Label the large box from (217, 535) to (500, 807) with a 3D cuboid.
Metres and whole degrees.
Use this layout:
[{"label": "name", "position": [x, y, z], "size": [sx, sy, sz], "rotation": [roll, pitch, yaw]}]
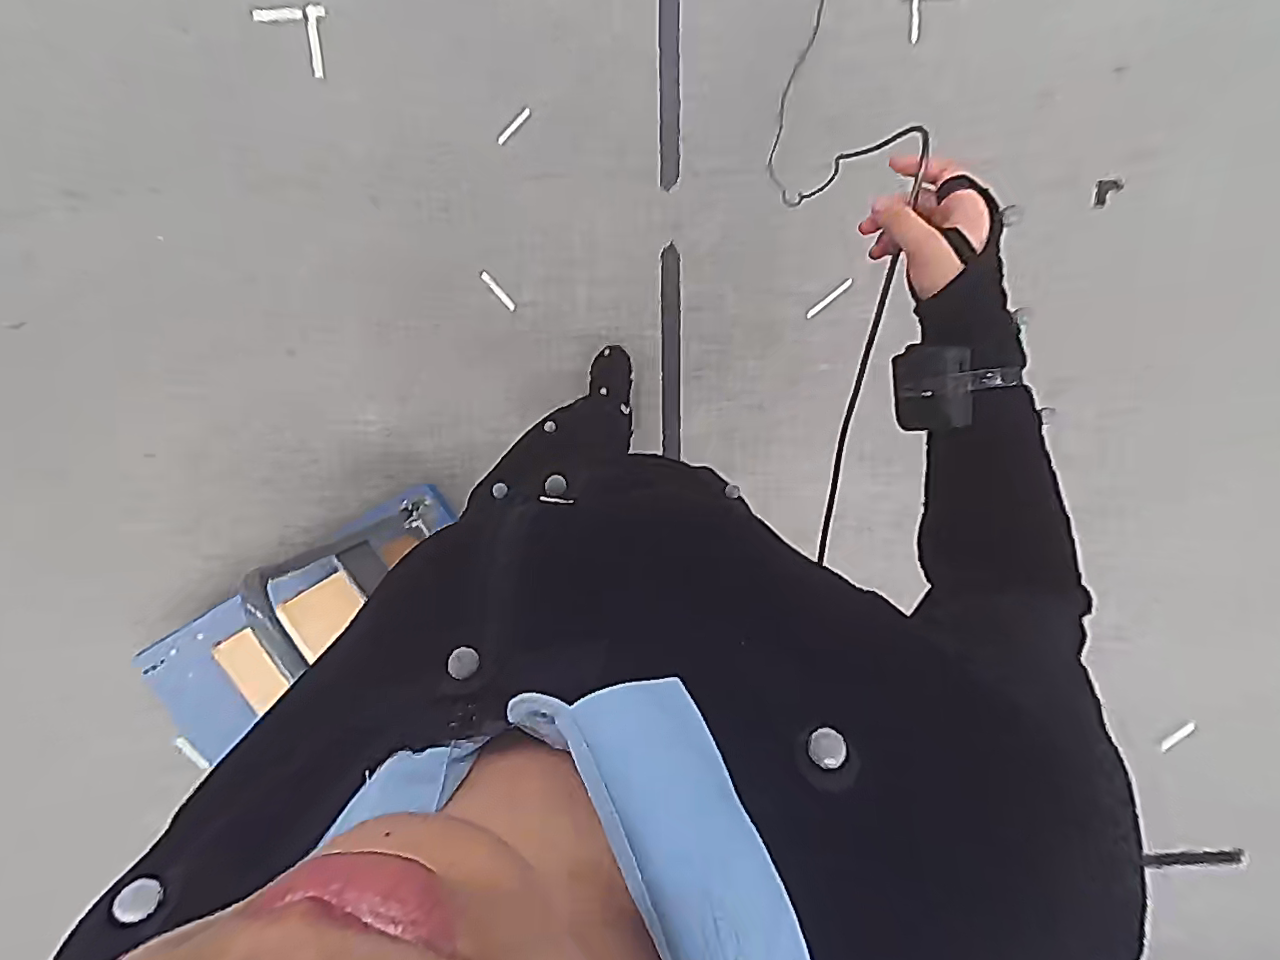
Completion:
[{"label": "large box", "position": [-0.573, 0.389, 1.186], "size": [0.320, 0.320, 0.408], "rotation": [-31, 96, 2]}]
